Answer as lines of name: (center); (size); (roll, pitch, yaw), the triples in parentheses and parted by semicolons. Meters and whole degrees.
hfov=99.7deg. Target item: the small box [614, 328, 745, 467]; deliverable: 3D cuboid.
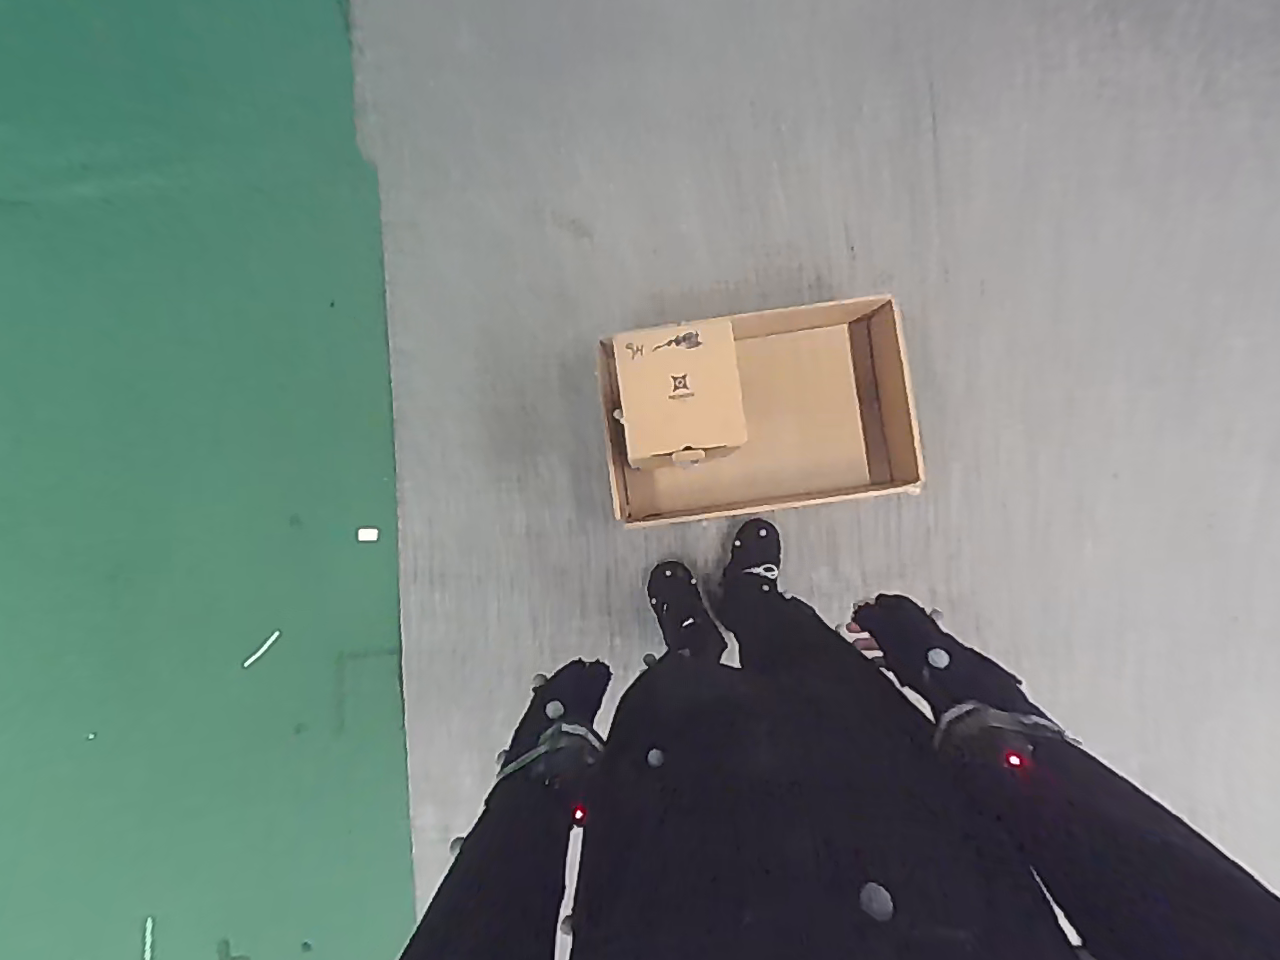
small box: (0.059, -0.114, 0.825); (0.168, 0.176, 0.179); (-8, 88, 2)
